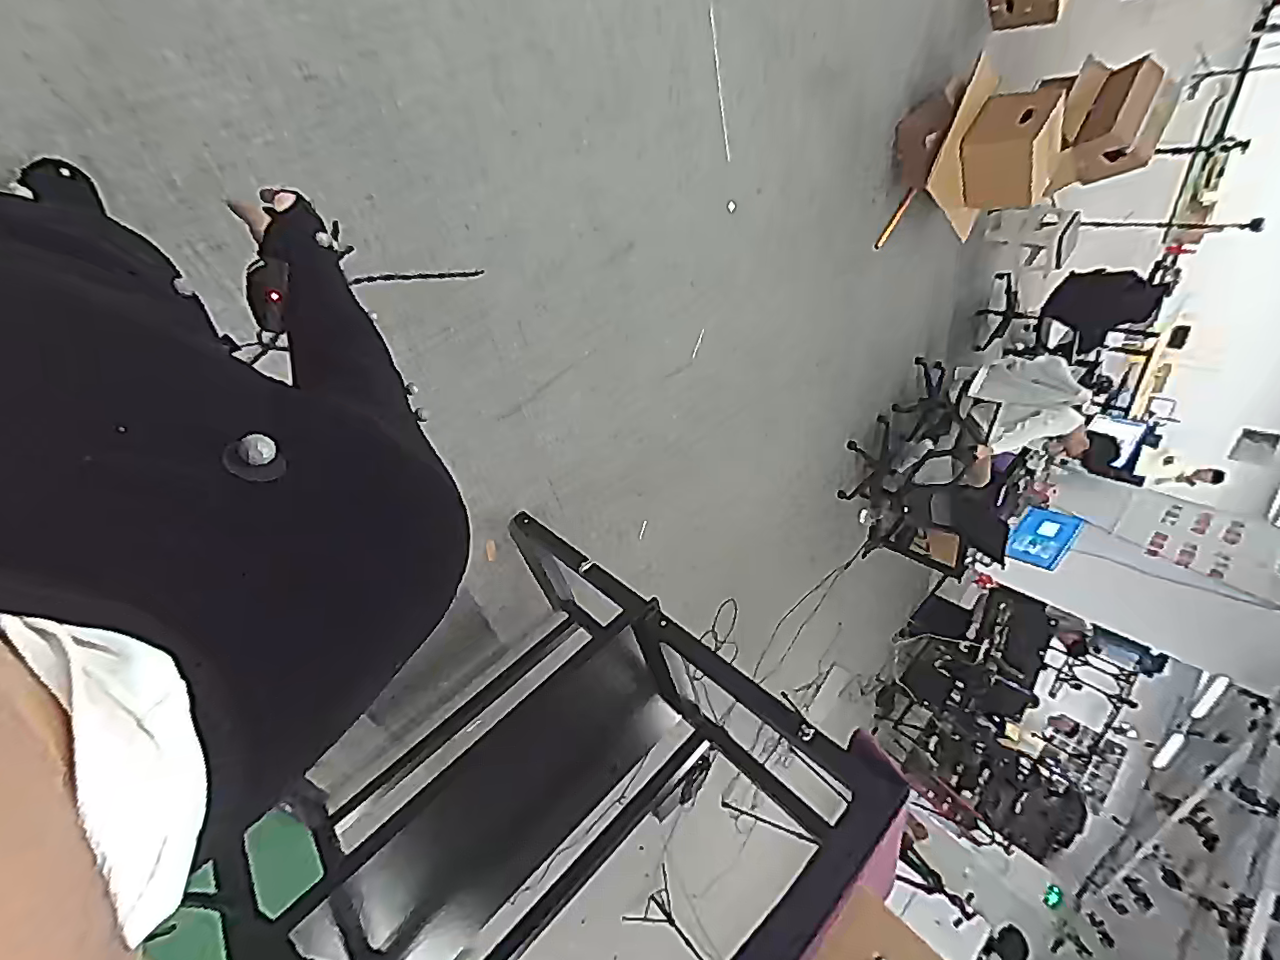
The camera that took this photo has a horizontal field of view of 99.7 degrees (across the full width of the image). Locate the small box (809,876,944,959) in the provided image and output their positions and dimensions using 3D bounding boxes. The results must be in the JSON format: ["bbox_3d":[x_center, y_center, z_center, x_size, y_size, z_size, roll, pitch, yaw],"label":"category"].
[{"bbox_3d":[0.426,0.893,0.997,0.179,0.176,0.168,-37,133,-25],"label":"small box"}]
